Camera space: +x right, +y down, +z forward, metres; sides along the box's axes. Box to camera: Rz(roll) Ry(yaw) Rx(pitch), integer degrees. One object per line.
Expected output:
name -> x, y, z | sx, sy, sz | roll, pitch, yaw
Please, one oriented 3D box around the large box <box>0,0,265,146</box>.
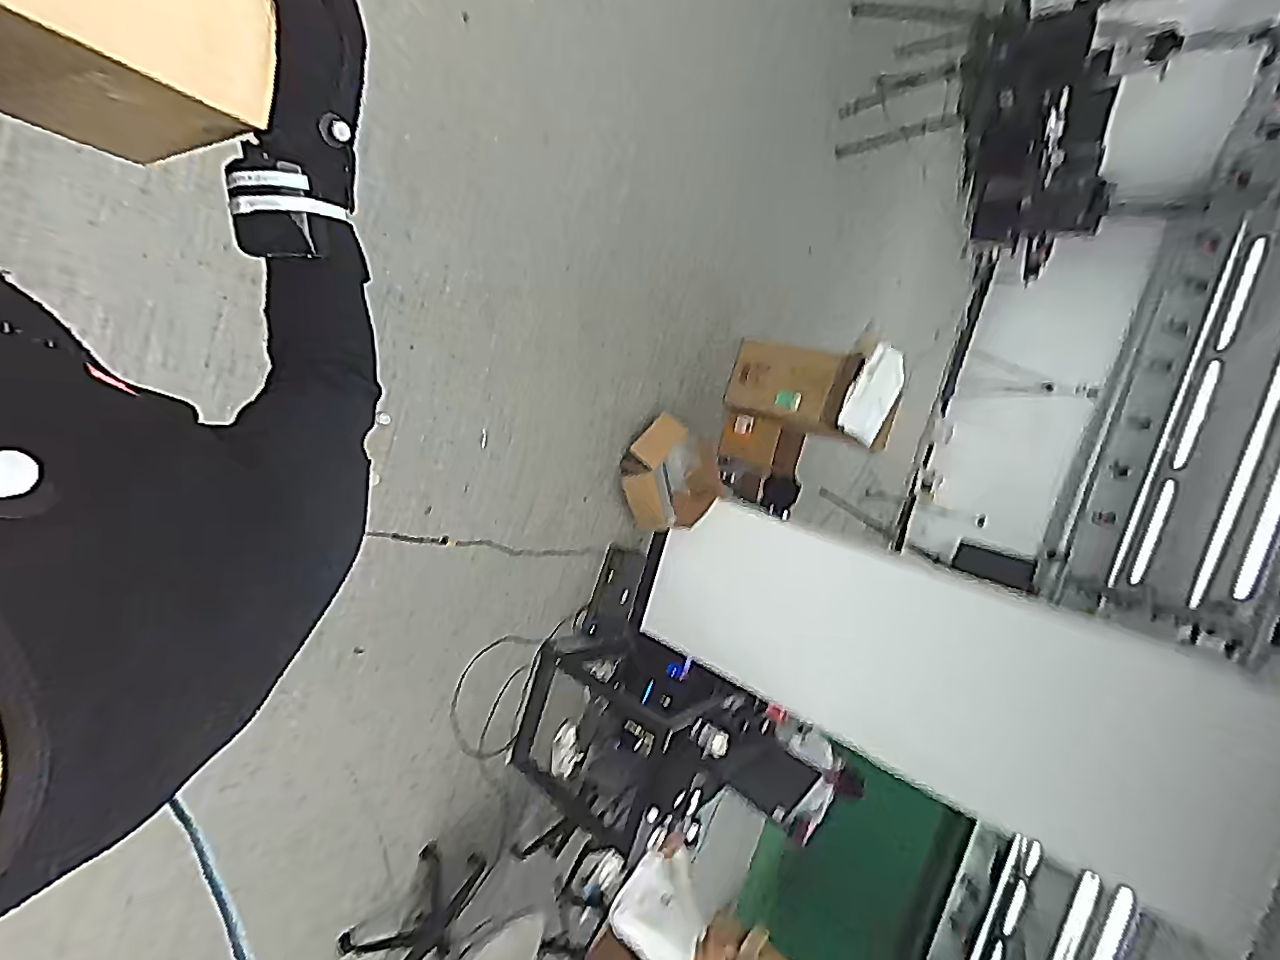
large box -> -0.480, -0.446, 0.286 | 0.408, 0.320, 0.320 | 0, 105, -56
